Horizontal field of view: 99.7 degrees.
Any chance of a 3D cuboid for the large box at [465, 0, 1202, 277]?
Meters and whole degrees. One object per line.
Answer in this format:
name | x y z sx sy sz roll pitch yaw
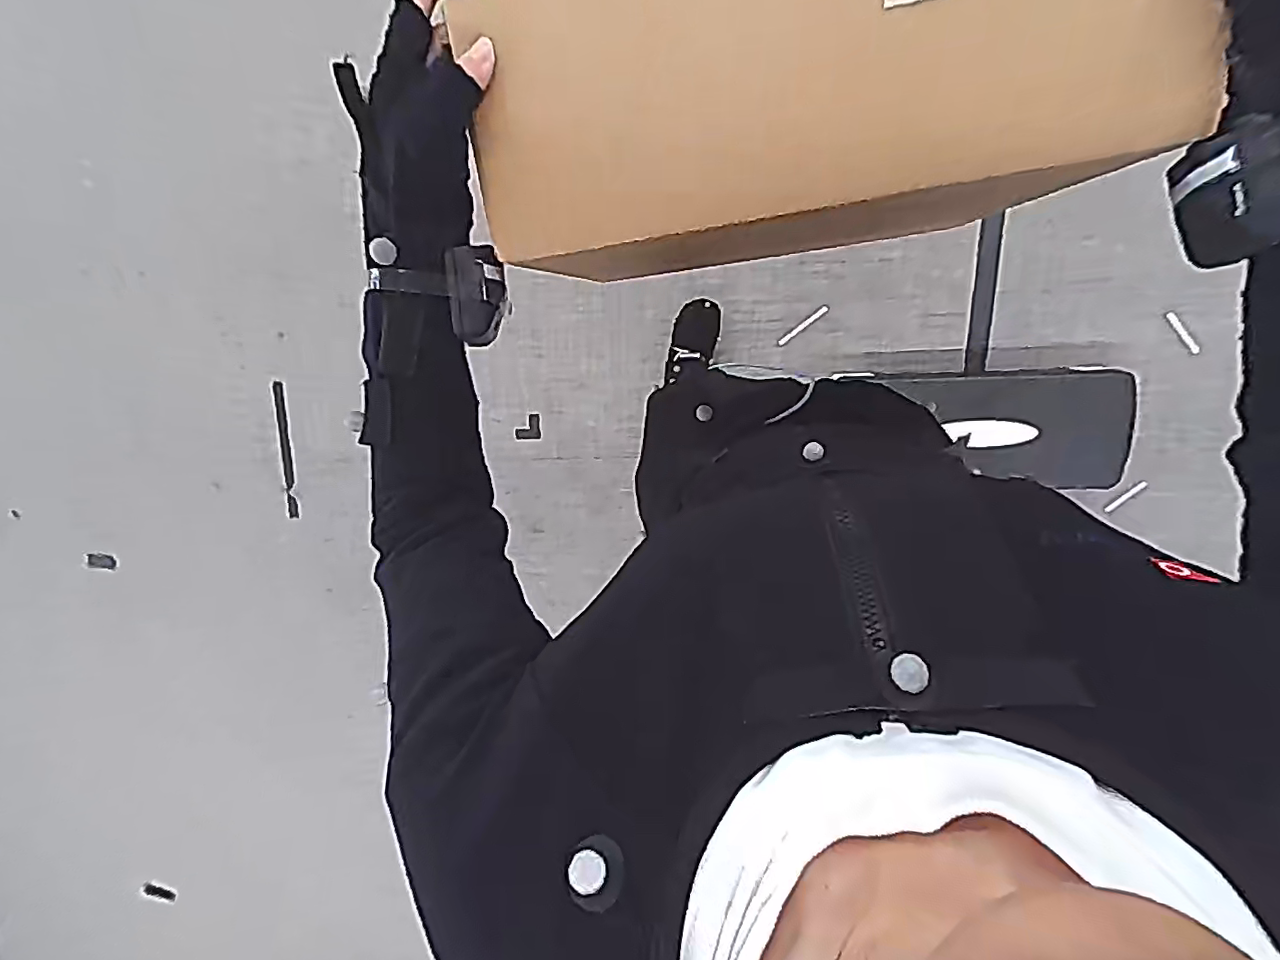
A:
large box | 0.104 -0.365 0.432 0.408 0.320 0.320 -6 107 10
